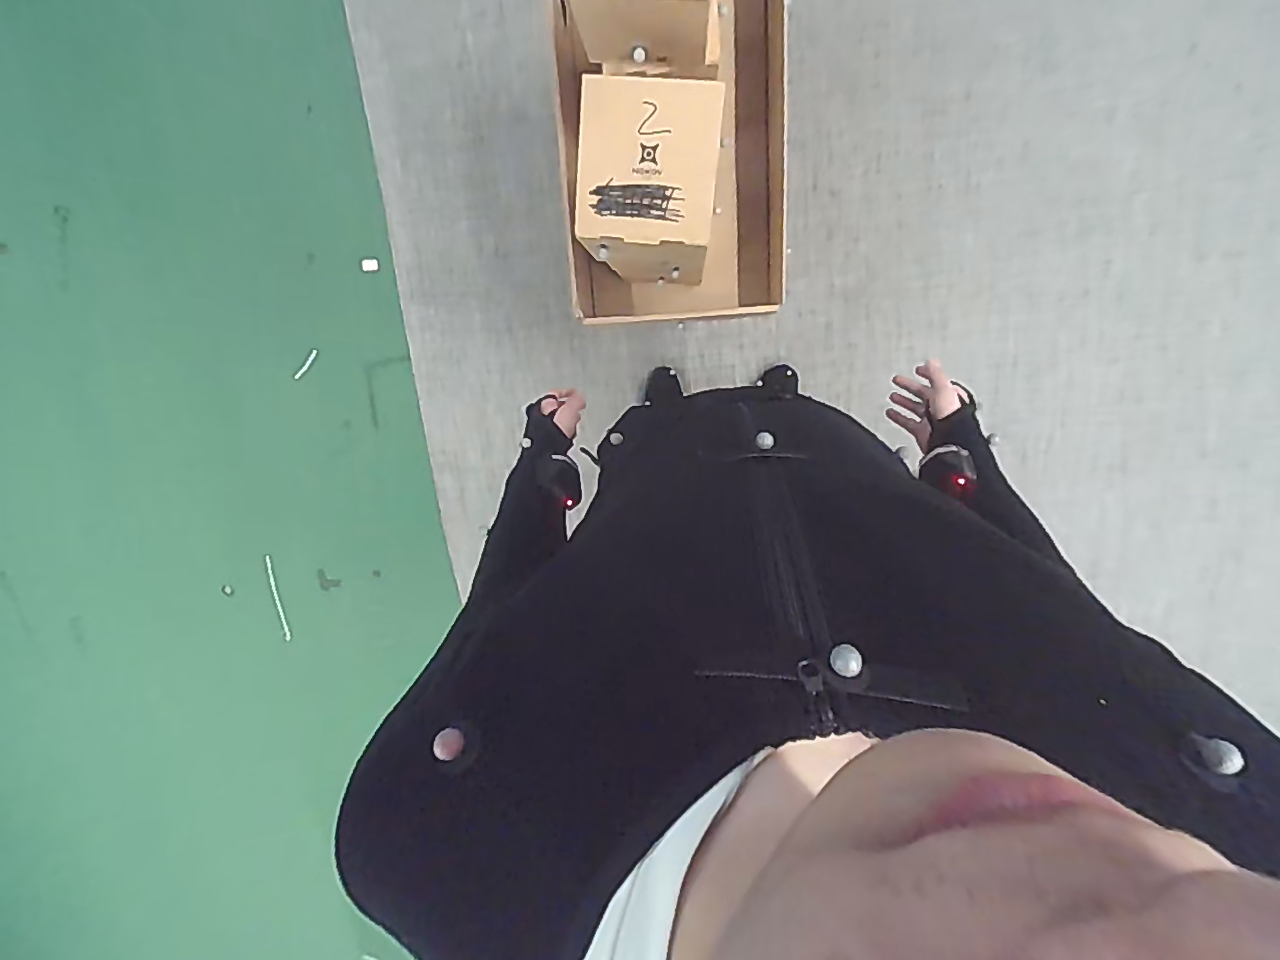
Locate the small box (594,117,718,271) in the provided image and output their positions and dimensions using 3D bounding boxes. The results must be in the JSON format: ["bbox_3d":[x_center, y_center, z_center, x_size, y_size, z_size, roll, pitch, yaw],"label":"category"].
[{"bbox_3d":[0.028,-0.443,0.867,0.168,0.176,0.179,7,103,2],"label":"small box"}]

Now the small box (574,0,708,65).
[{"bbox_3d":[0.005,-0.648,0.654,0.168,0.176,0.179,5,106,3],"label":"small box"}]

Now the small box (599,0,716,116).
[{"bbox_3d":[0.023,-0.686,0.813,0.168,0.176,0.179,-4,105,5],"label":"small box"}]
